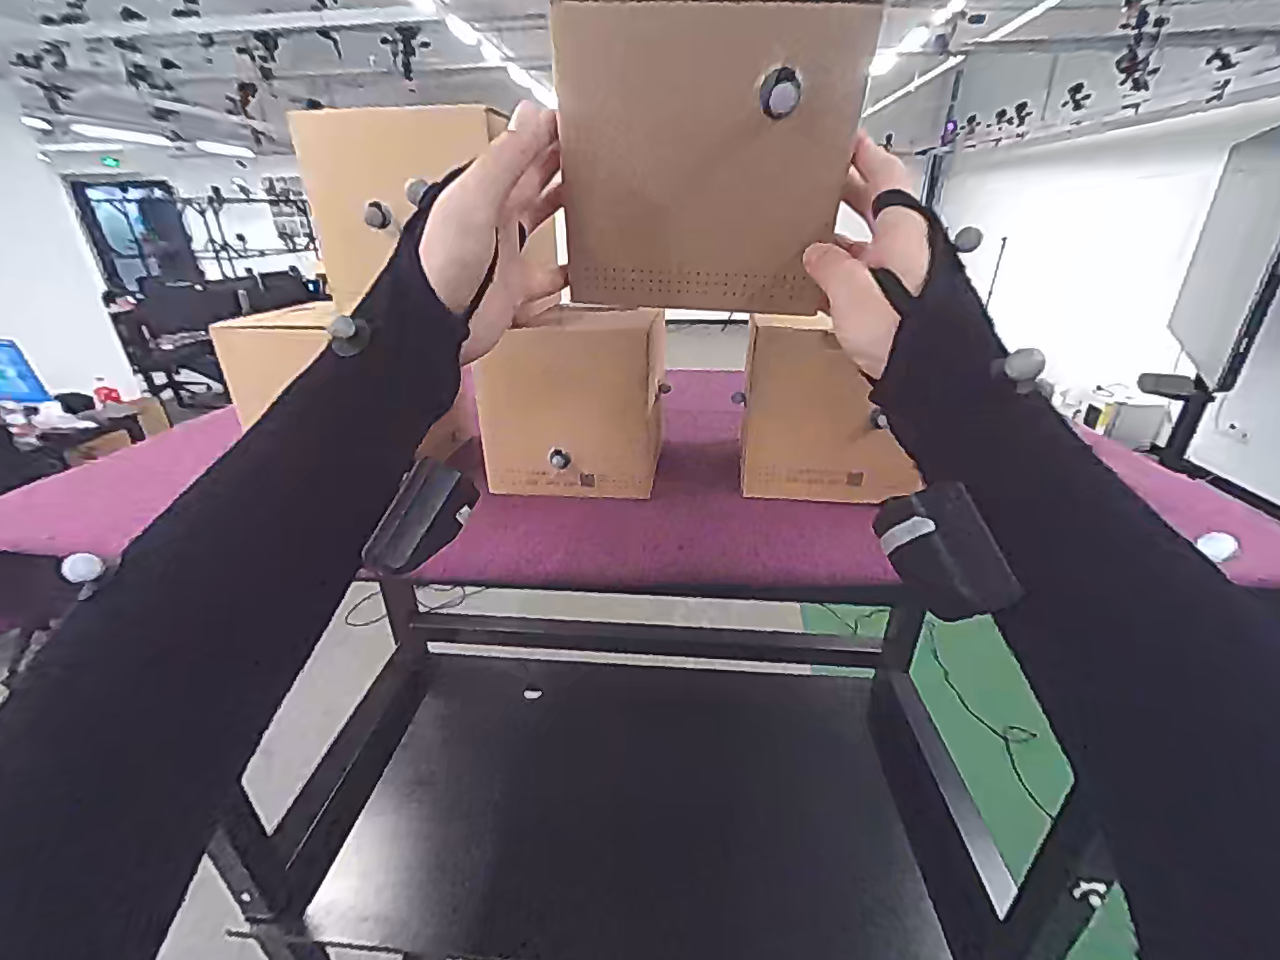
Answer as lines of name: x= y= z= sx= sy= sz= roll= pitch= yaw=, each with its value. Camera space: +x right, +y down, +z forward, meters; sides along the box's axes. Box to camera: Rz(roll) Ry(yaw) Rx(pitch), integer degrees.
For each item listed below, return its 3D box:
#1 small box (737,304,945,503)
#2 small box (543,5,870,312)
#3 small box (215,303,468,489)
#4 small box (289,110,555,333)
small box: x=0.191 y=-0.086 z=0.568 sx=0.168 sy=0.176 sz=0.179 roll=4 pitch=24 yaw=9
small box: x=0.044 y=-0.234 z=0.396 sx=0.179 sy=0.176 sz=0.168 roll=4 pitch=40 yaw=6
small box: x=-0.312 y=-0.099 z=0.612 sx=0.179 sy=0.176 sz=0.168 roll=3 pitch=26 yaw=5
small box: x=-0.187 y=-0.241 z=0.528 sx=0.168 sy=0.176 sz=0.179 roll=2 pitch=25 yaw=7
